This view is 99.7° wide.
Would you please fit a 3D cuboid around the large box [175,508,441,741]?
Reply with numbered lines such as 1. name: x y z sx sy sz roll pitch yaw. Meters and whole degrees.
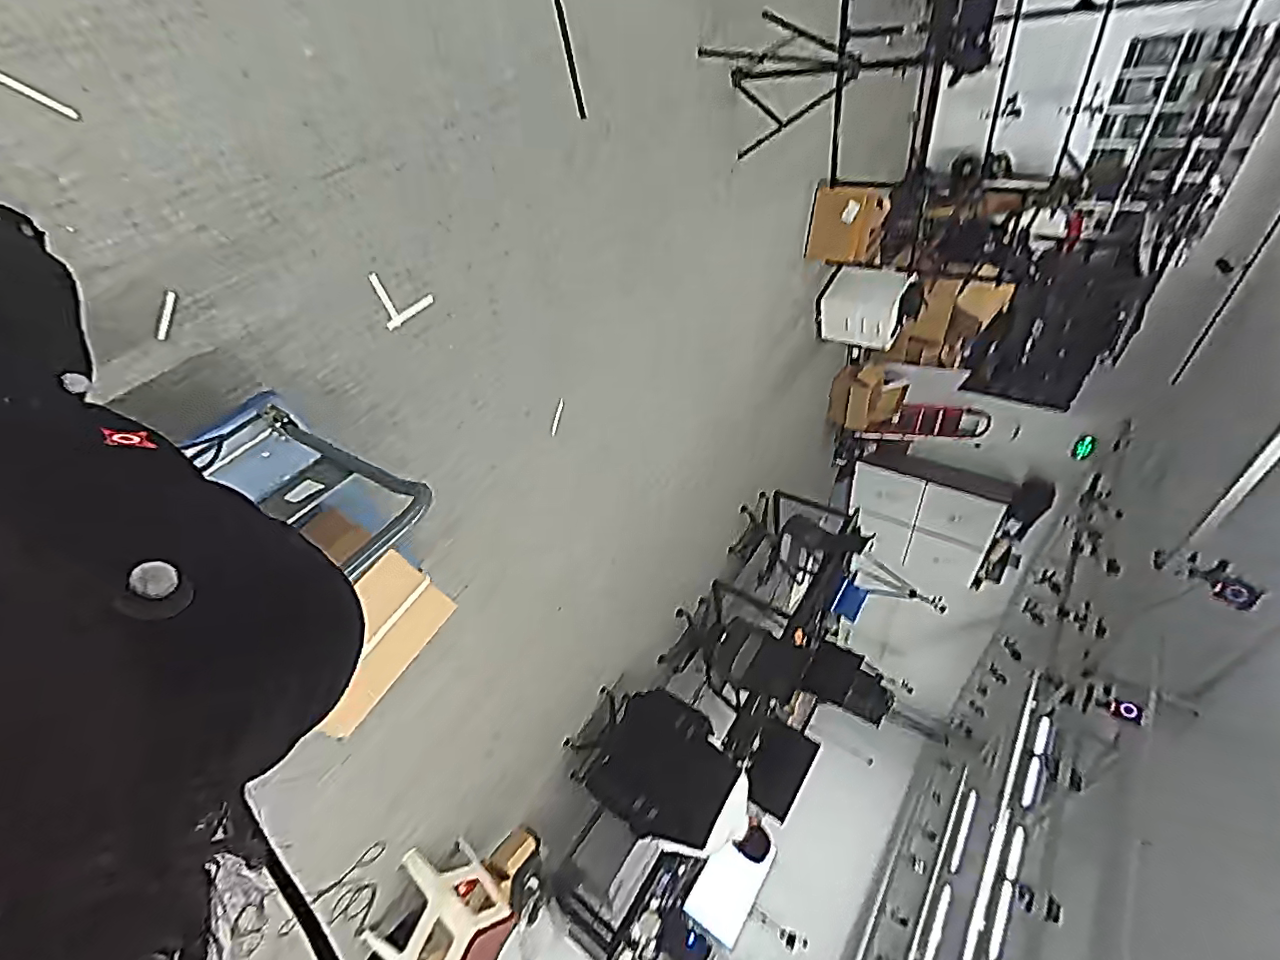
1. large box: -0.797 0.345 1.342 0.408 0.320 0.320 -52 145 -25
